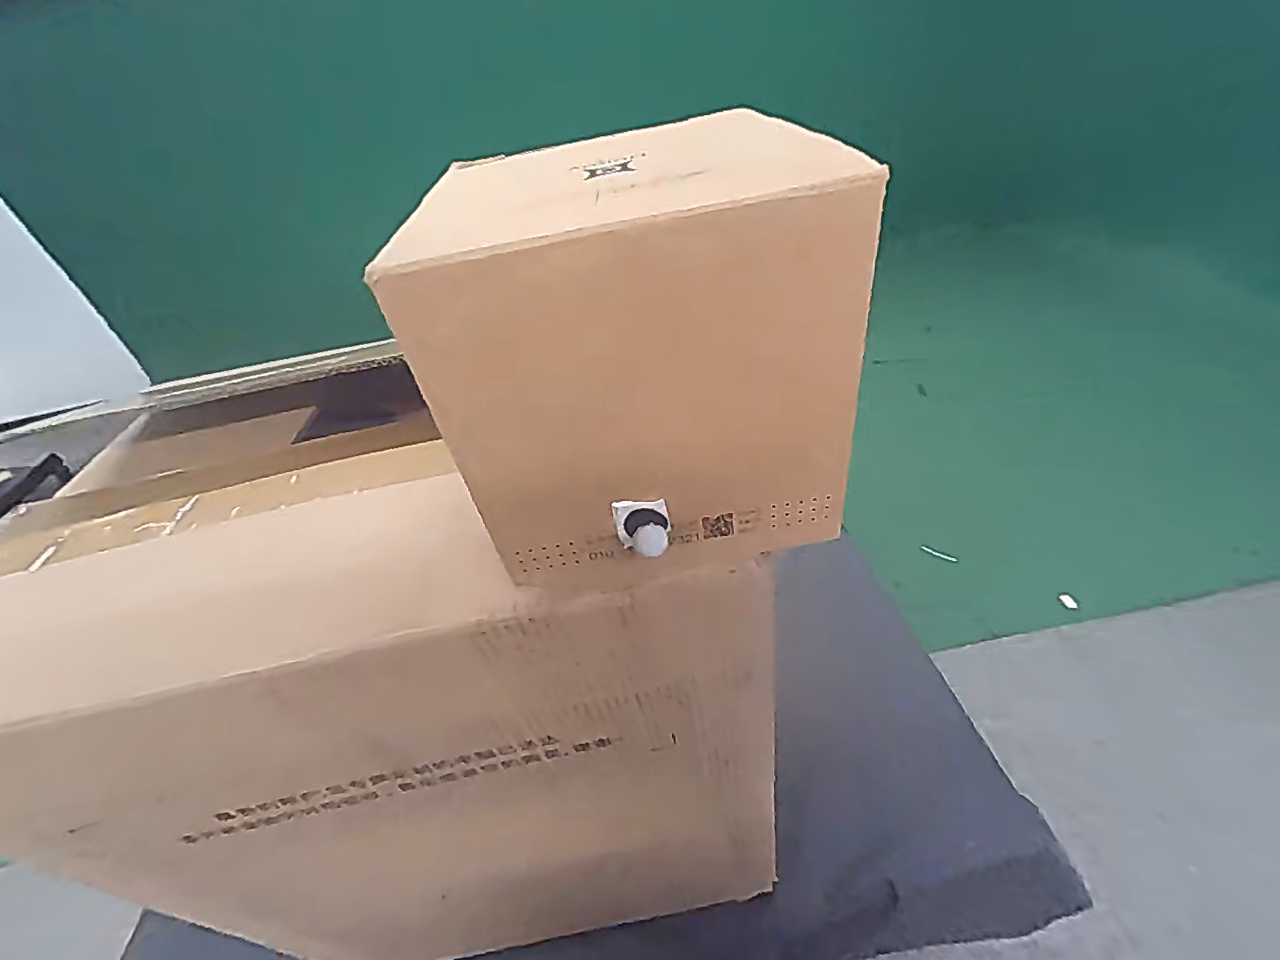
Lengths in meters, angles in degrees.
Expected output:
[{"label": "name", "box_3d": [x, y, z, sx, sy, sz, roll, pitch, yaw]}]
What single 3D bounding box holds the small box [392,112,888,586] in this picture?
[{"label": "small box", "box_3d": [0.000, -0.073, 0.287, 0.168, 0.176, 0.179, -12, 41, -1]}]
